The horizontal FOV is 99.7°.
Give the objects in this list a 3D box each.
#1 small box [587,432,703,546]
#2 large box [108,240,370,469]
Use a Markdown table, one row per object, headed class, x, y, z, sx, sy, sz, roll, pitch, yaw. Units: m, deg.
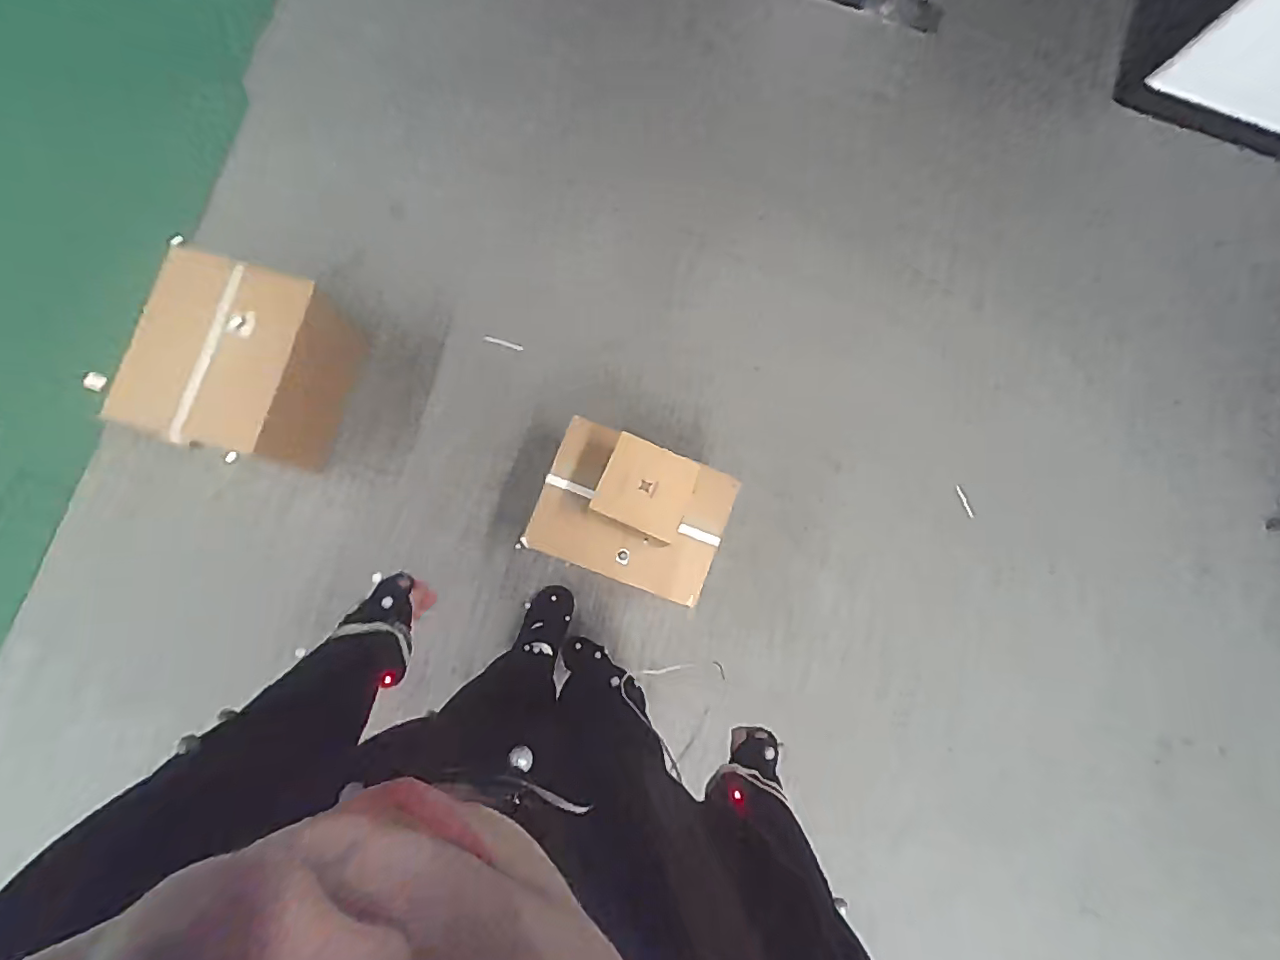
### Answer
| class | x | y | z | sx | sy | sz | roll | pitch | yaw |
| --- | --- | --- | --- | --- | --- | --- | --- | --- | --- |
| small box | 0.003 | 0.026 | 1.105 | 0.179 | 0.176 | 0.168 | 25 | 78 | -2 |
| large box | -0.914 | -0.272 | 1.293 | 0.320 | 0.320 | 0.408 | 16 | 81 | -3 |
